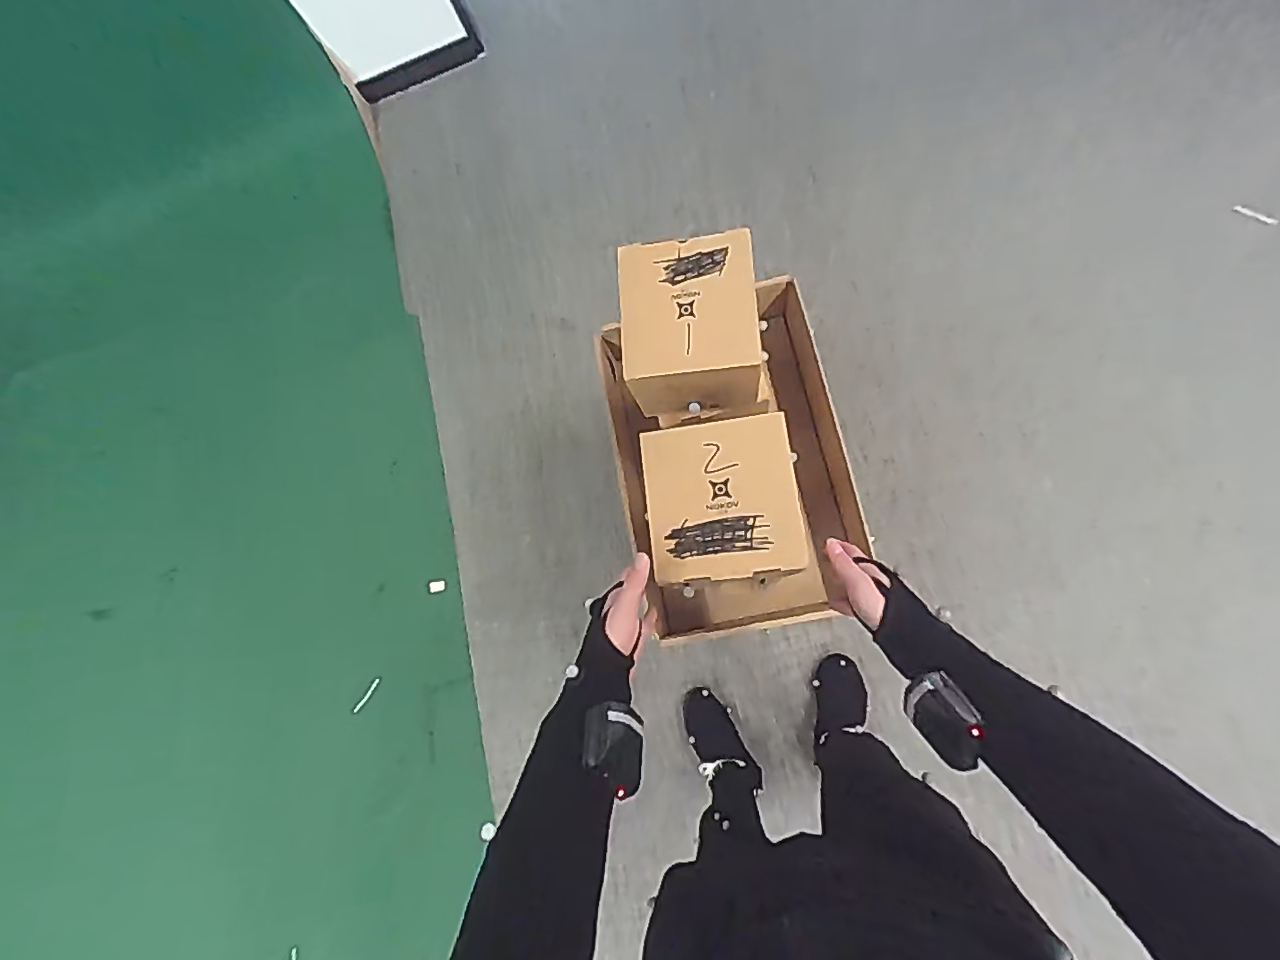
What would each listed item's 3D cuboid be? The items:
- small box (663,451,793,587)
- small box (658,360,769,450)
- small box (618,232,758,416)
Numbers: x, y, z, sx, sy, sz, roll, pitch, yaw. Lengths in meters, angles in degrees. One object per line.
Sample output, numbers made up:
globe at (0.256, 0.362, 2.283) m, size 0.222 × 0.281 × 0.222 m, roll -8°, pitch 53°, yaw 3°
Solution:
small box at (0.135, 0.069, 0.826) m, size 0.168 × 0.176 × 0.179 m, roll -8°, pitch 76°, yaw 9°
small box at (0.105, -0.165, 0.885) m, size 0.168 × 0.176 × 0.179 m, roll -14°, pitch 78°, yaw 8°
small box at (0.067, -0.198, 0.728) m, size 0.168 × 0.176 × 0.179 m, roll -4°, pitch 80°, yaw 10°
